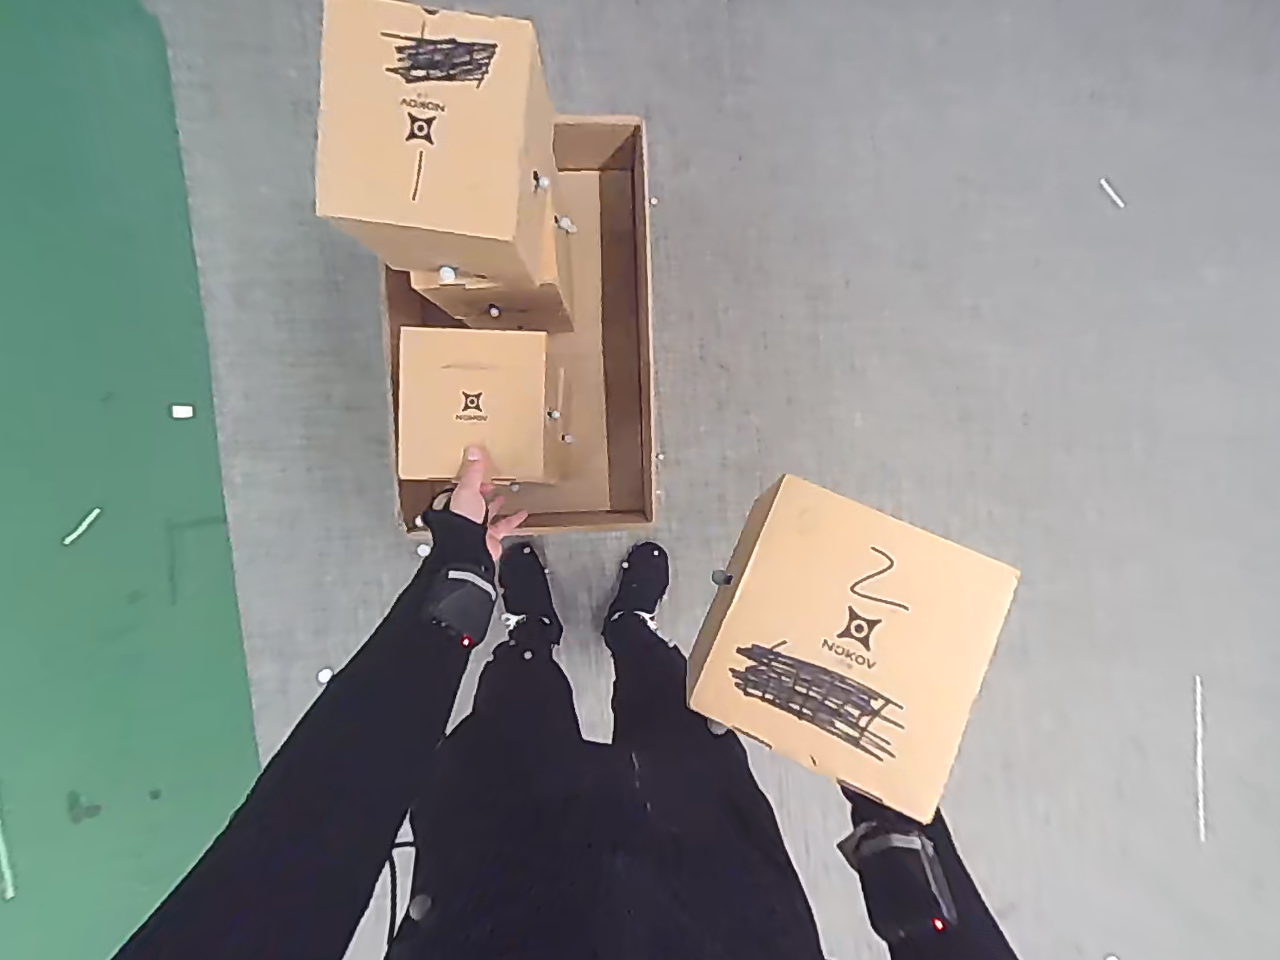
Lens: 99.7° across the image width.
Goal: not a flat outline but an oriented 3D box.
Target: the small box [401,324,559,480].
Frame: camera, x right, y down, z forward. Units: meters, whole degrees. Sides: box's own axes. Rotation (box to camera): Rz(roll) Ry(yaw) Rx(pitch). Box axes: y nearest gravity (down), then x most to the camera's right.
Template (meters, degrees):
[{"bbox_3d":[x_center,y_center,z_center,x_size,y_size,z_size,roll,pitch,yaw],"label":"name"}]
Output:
[{"bbox_3d":[-0.195,-0.092,0.703,0.168,0.176,0.179,2,92,-4],"label":"small box"}]

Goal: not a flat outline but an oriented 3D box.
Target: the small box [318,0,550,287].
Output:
[{"bbox_3d":[-0.182,-0.305,0.526,0.168,0.176,0.179,6,97,-4],"label":"small box"}]

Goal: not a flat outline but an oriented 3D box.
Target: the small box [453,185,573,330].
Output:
[{"bbox_3d":[-0.195,-0.339,0.850,0.168,0.176,0.179,-3,97,-2],"label":"small box"}]

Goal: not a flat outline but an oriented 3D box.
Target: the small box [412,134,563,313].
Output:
[{"bbox_3d":[-0.188,-0.320,0.690,0.168,0.176,0.179,-3,98,-4],"label":"small box"}]
